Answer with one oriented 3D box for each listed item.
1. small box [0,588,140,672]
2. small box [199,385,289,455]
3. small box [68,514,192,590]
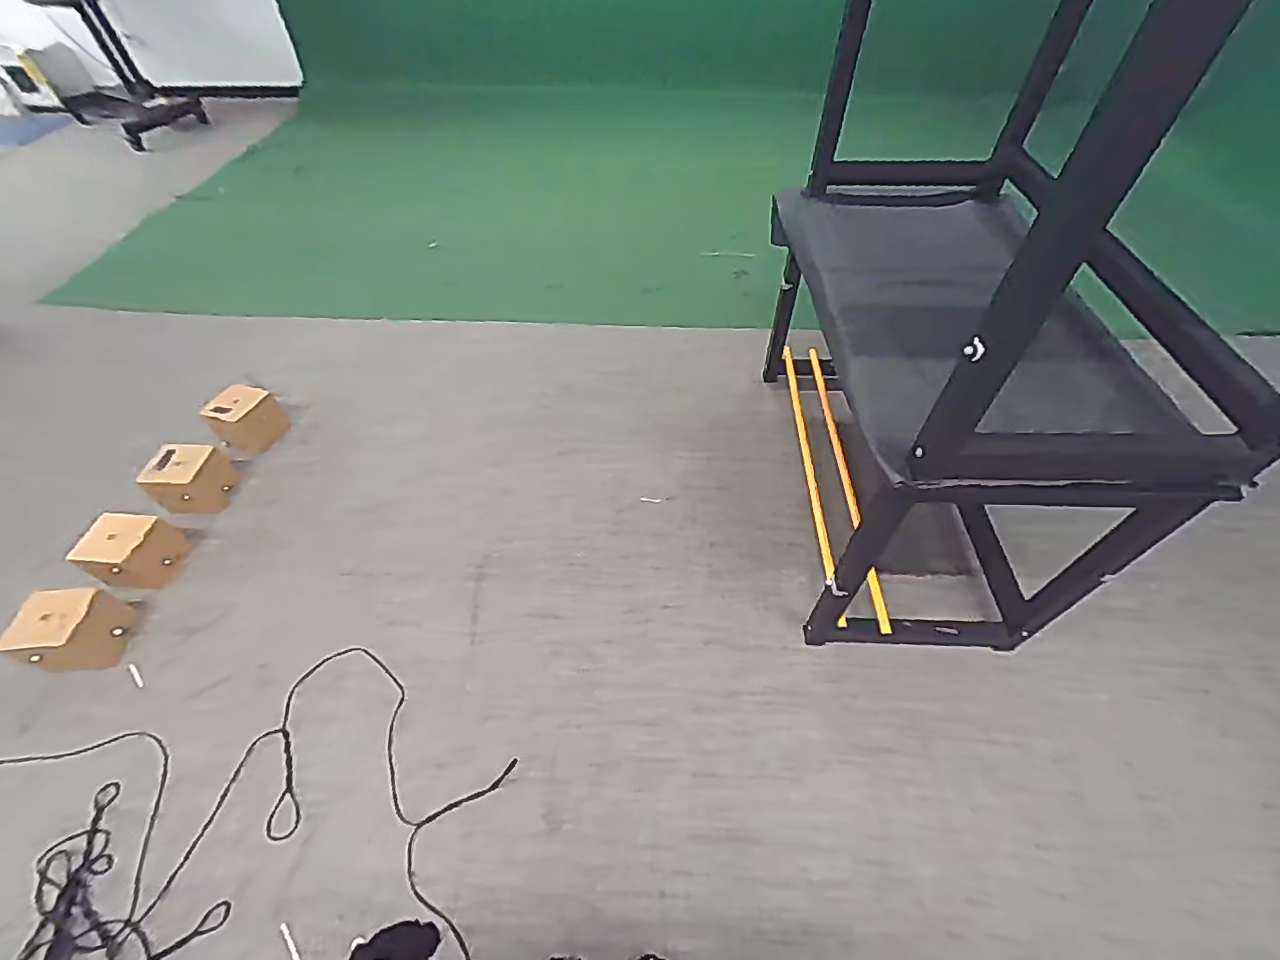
[{"bbox_3d":[-1.546,0.413,1.475,0.179,0.176,0.168,-4,52,-3],"label":"small box"},{"bbox_3d":[-1.448,-0.218,1.992,0.168,0.176,0.179,14,51,11],"label":"small box"},{"bbox_3d":[-1.530,0.220,1.636,0.179,0.176,0.168,3,51,2],"label":"small box"}]
